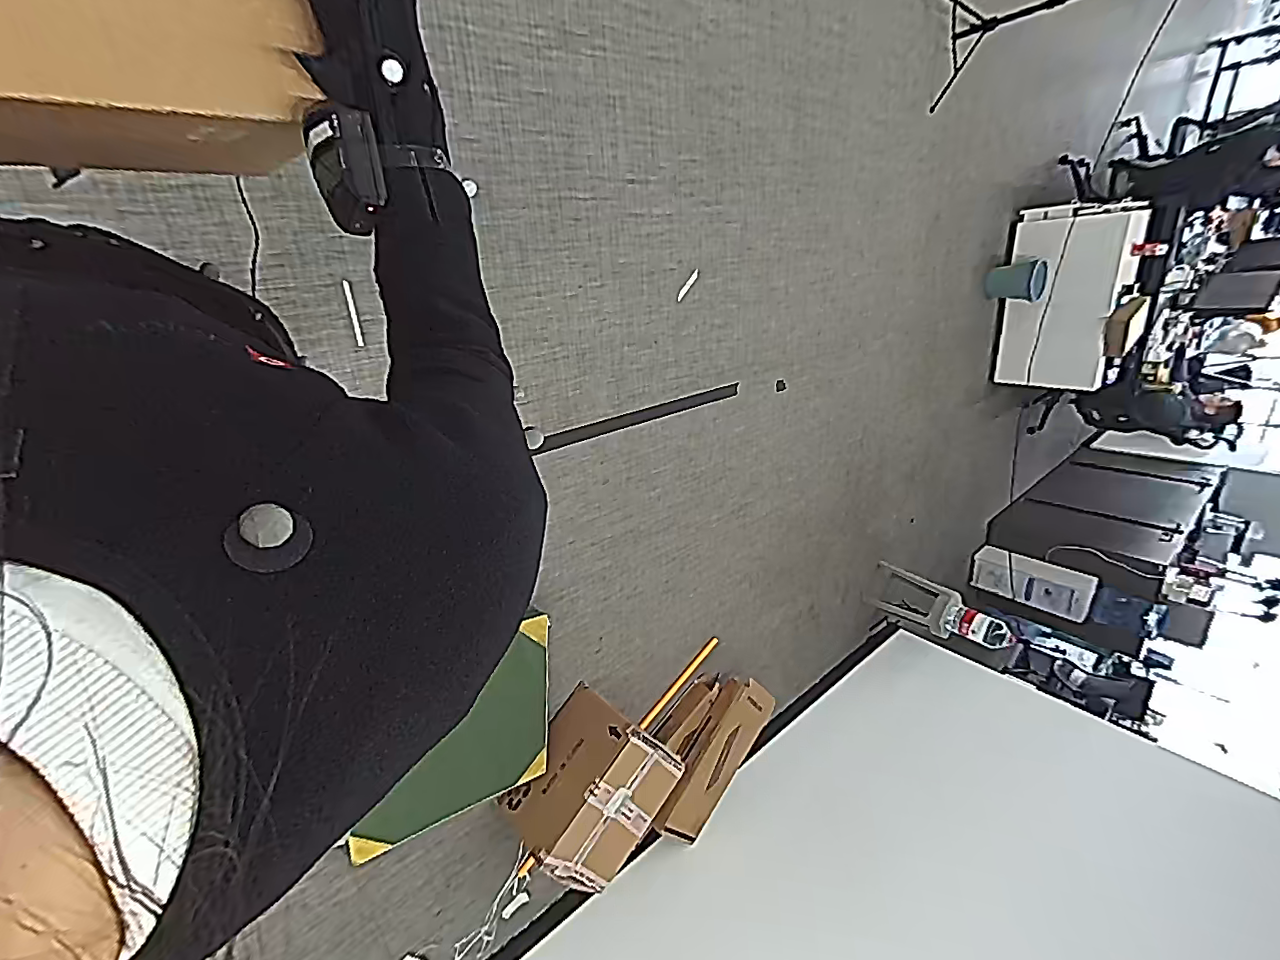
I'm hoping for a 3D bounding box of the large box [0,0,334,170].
[{"bbox_3d":[-0.467,-0.375,0.308,0.408,0.320,0.320,-21,121,-36],"label":"large box"}]
